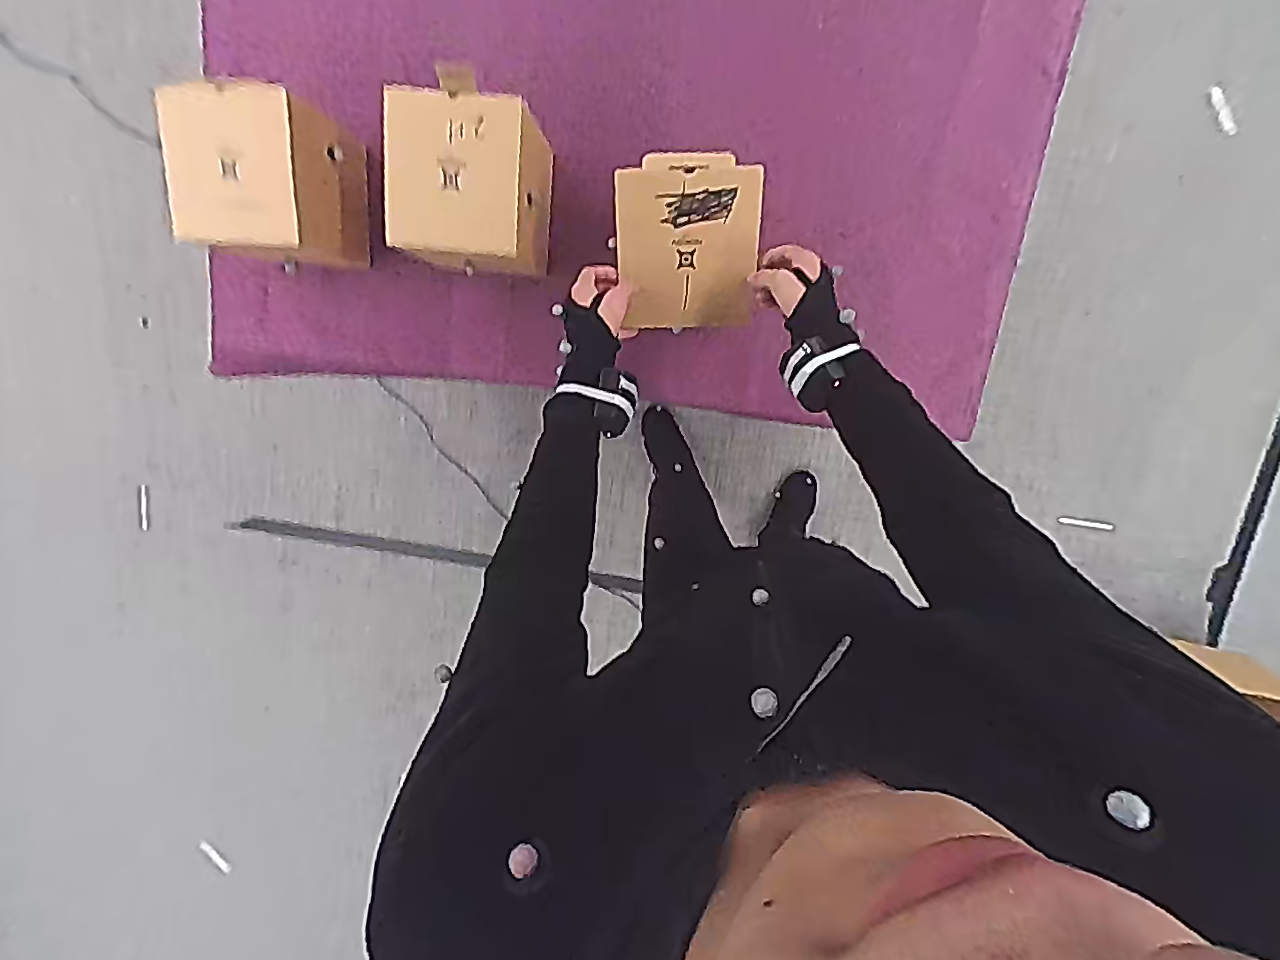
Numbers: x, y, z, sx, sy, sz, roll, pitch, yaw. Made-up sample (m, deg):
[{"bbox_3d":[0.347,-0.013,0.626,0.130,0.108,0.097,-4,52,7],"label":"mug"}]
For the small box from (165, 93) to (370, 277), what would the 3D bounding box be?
[{"bbox_3d":[-0.493,-0.390,0.742,0.168,0.176,0.179,4,101,3],"label":"small box"}]

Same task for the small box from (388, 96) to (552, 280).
[{"bbox_3d":[-0.219,-0.377,0.731,0.168,0.176,0.179,6,101,1],"label":"small box"}]

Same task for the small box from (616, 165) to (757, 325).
[{"bbox_3d":[0.055,-0.301,0.719,0.168,0.176,0.179,0,110,2],"label":"small box"}]
